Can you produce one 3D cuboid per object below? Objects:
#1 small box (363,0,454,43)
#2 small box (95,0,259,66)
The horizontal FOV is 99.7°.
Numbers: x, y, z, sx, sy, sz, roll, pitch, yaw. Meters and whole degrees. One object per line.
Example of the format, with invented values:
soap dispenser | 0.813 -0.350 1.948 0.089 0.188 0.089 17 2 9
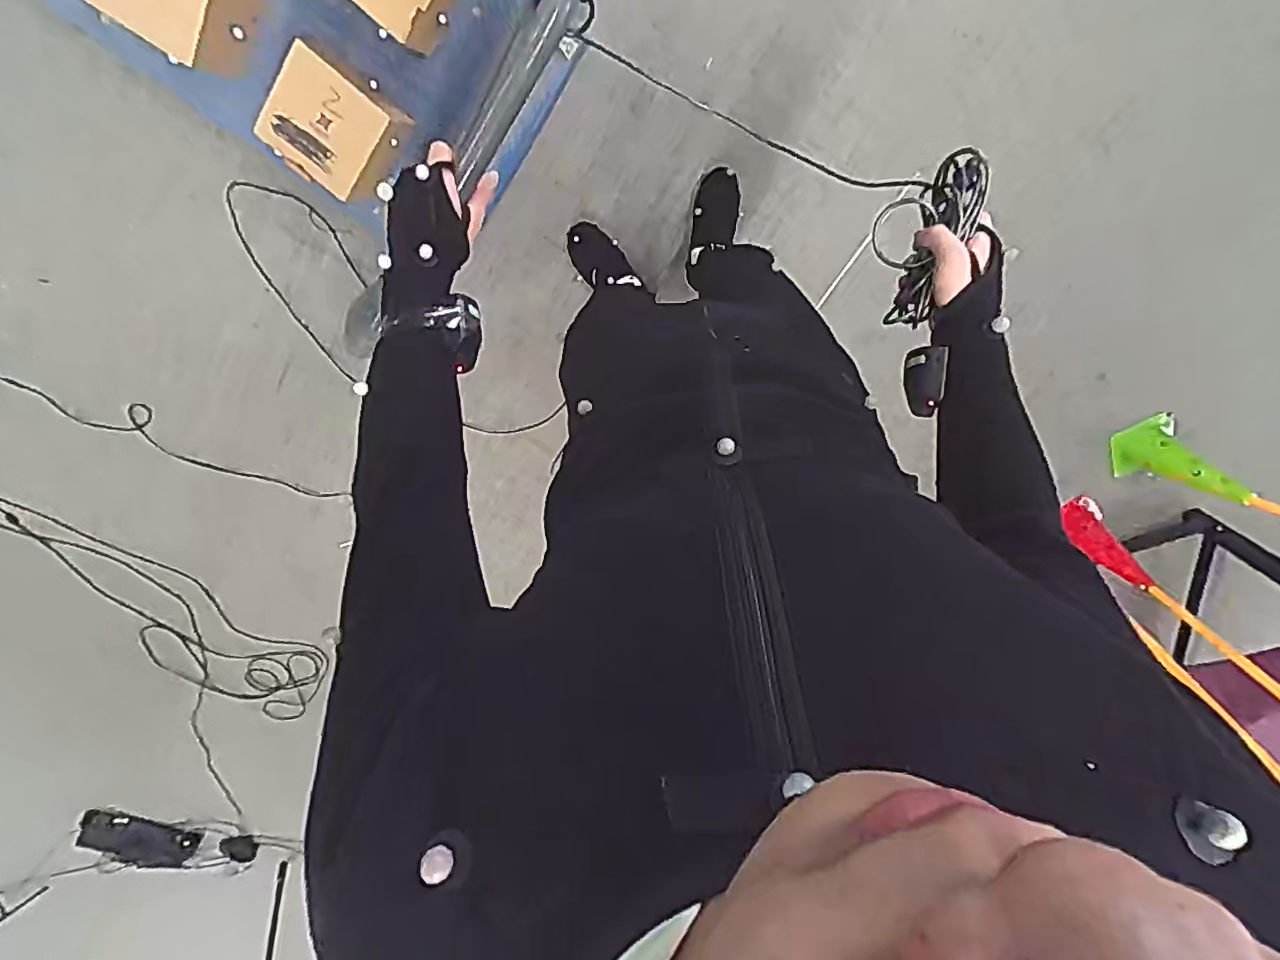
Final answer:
small box | -0.406 -0.862 0.883 0.179 0.176 0.168 33 114 -24
small box | -0.755 -0.812 0.875 0.179 0.176 0.168 29 115 -22
